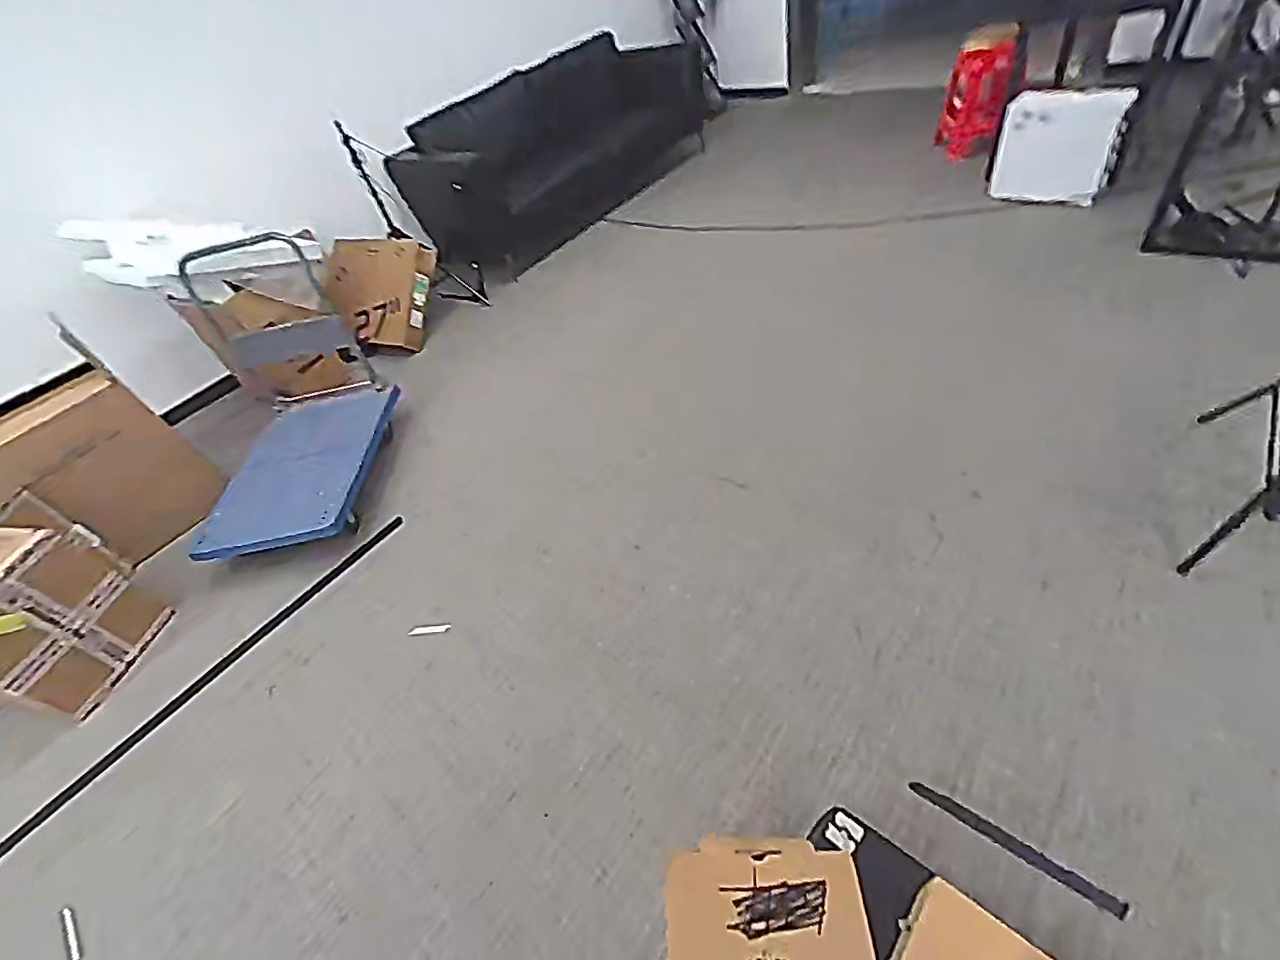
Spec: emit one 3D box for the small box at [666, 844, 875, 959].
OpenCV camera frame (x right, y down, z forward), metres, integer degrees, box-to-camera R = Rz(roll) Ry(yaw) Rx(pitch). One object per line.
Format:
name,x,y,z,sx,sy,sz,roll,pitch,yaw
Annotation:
small box,0.105,0.442,0.464,0.168,0.176,0.179,-2,40,4

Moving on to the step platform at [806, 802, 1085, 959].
step platform,0.553,0.837,0.824,0.684,0.204,0.286,24,57,35

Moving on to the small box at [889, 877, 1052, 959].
small box,0.444,0.700,0.742,0.168,0.176,0.179,26,59,35
